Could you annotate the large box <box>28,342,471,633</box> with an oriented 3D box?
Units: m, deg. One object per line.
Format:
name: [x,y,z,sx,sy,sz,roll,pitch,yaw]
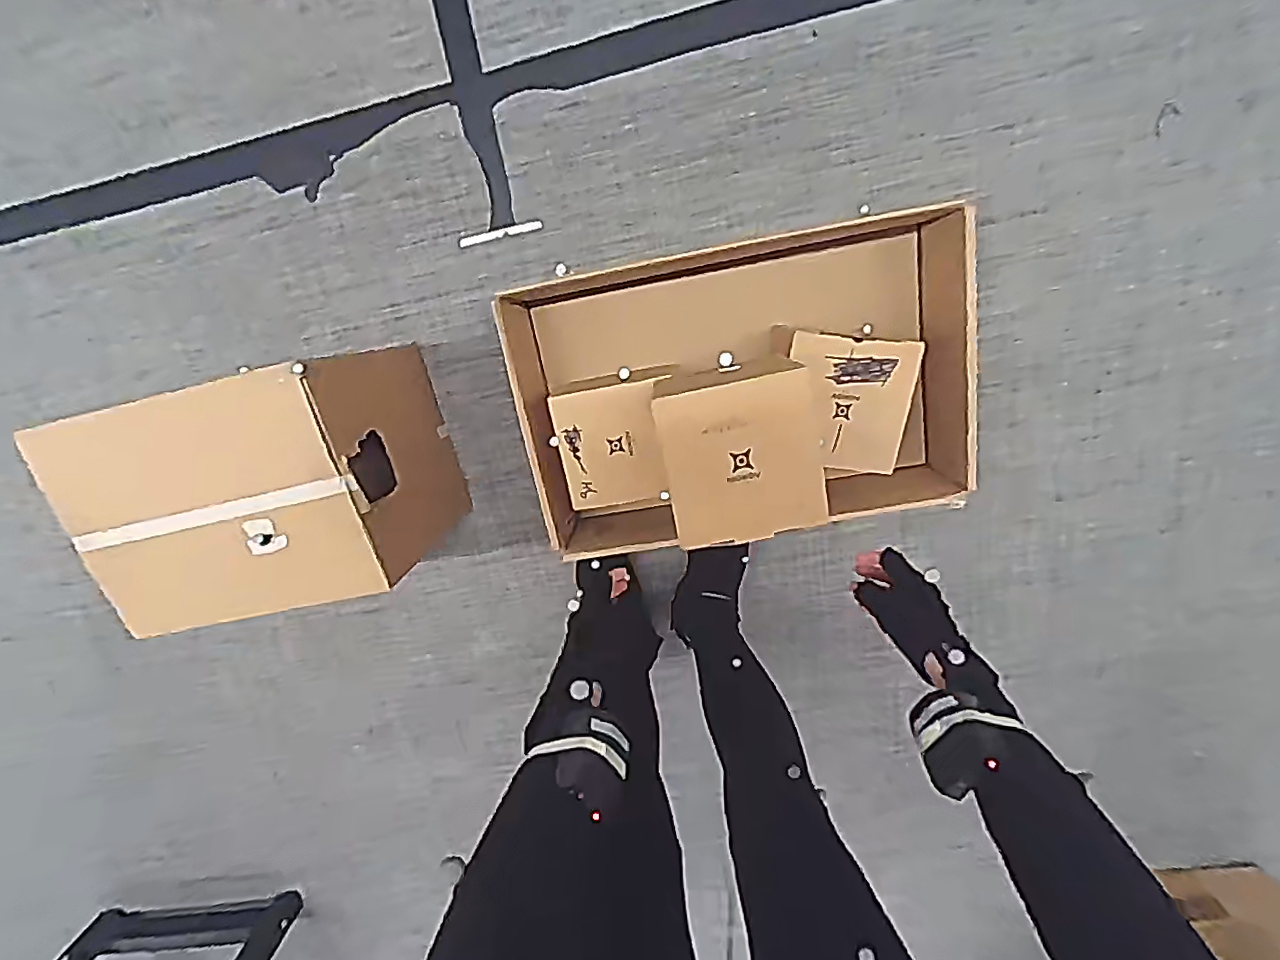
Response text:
large box: [-0.544,-0.010,0.842,0.408,0.320,0.320,-12,107,7]

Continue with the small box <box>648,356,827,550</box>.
small box: [0.109,-0.040,0.641,0.168,0.176,0.179,-11,106,6]
